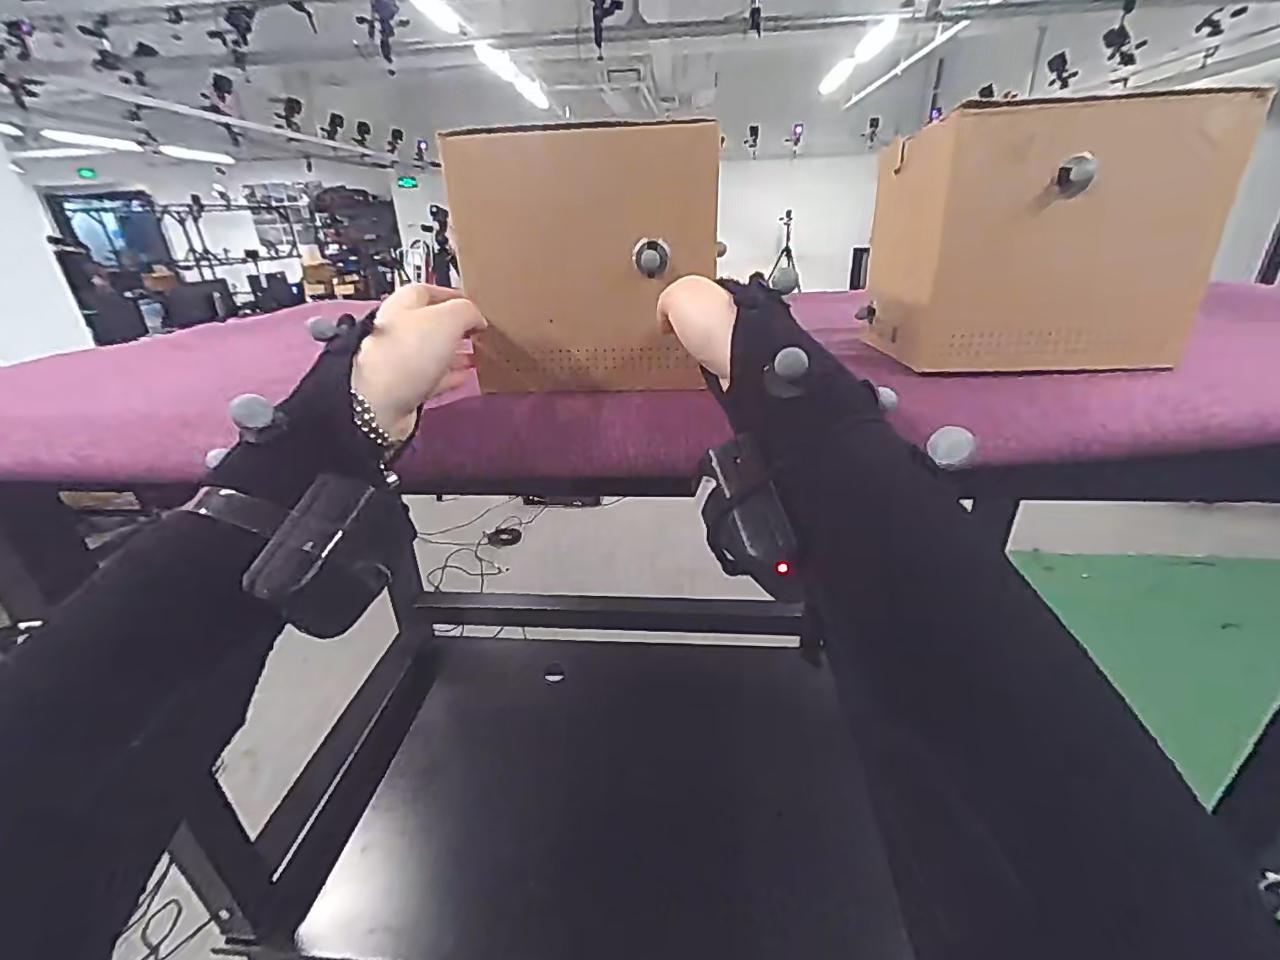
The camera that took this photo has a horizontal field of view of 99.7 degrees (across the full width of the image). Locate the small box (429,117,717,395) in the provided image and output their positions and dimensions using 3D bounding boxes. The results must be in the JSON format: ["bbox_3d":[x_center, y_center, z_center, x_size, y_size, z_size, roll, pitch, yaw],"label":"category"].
[{"bbox_3d":[-0.035,-0.171,0.427,0.179,0.176,0.168,-2,25,4],"label":"small box"}]

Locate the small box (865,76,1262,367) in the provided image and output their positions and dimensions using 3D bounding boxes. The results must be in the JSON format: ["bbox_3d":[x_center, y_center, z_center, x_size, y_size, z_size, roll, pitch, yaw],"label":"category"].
[{"bbox_3d":[0.288,-0.186,0.424,0.179,0.176,0.168,1,24,6],"label":"small box"}]
